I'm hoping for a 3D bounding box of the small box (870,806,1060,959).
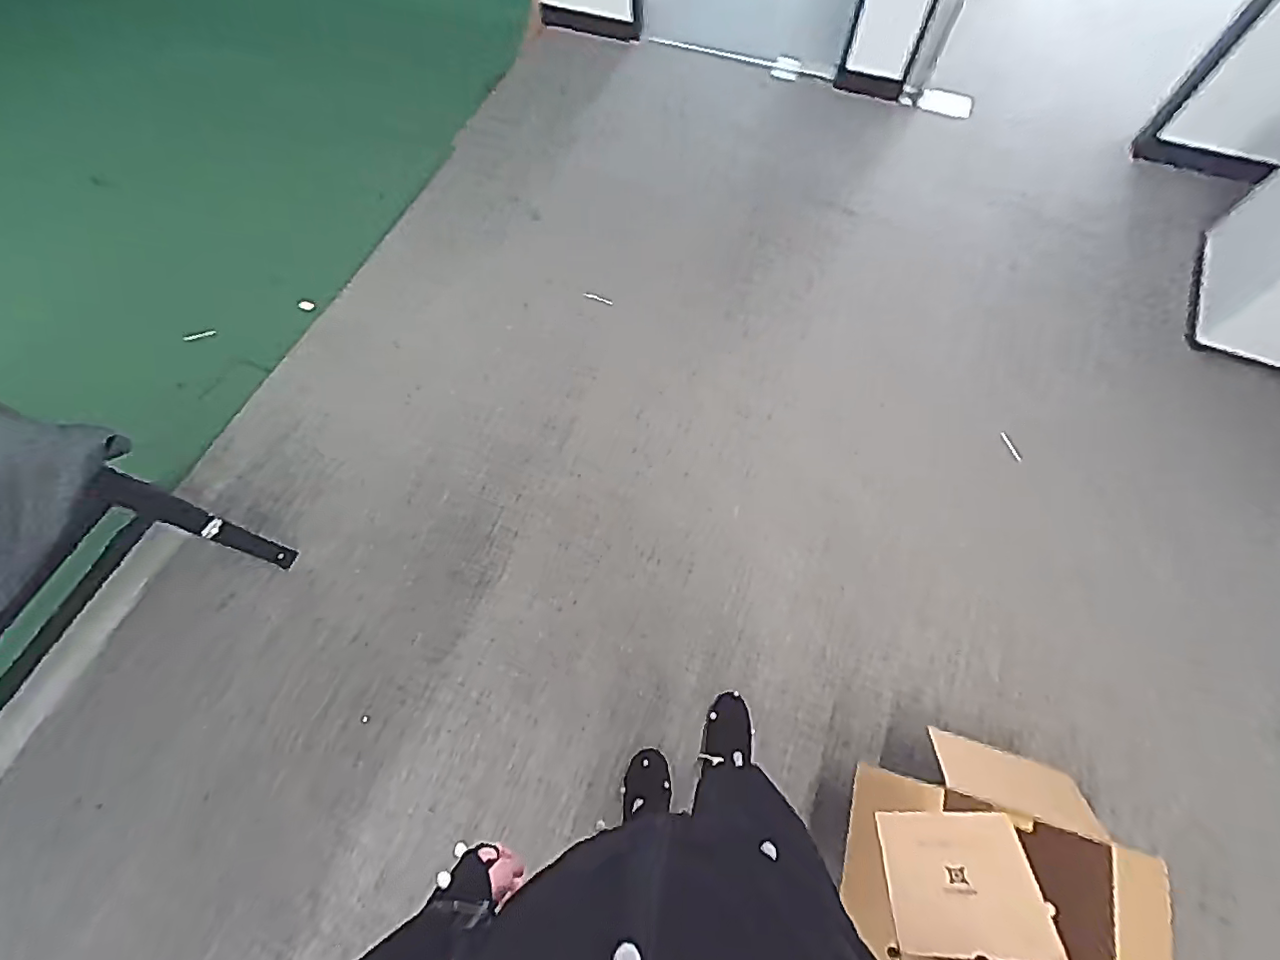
[{"bbox_3d":[0.400,0.549,0.680,0.168,0.179,0.176,-10,108,17],"label":"small box"}]
